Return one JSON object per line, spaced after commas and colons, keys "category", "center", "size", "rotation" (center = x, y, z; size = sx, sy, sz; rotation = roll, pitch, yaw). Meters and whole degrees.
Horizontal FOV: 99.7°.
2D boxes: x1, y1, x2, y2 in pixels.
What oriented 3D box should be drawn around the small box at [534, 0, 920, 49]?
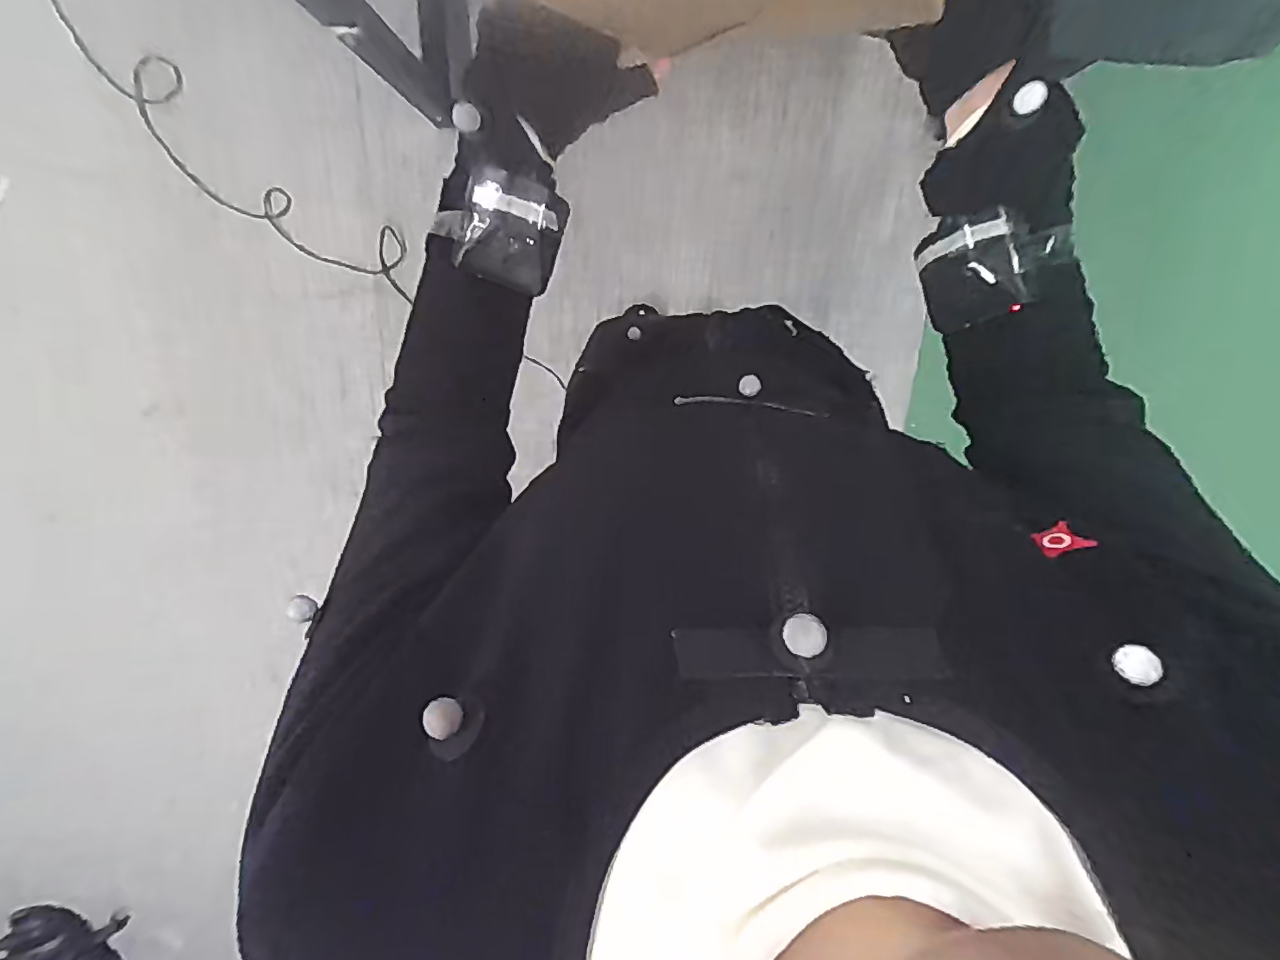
{"category": "small box", "center": [0.051, -0.322, 0.249], "size": [0.179, 0.168, 0.176], "rotation": [13, 120, 24]}
